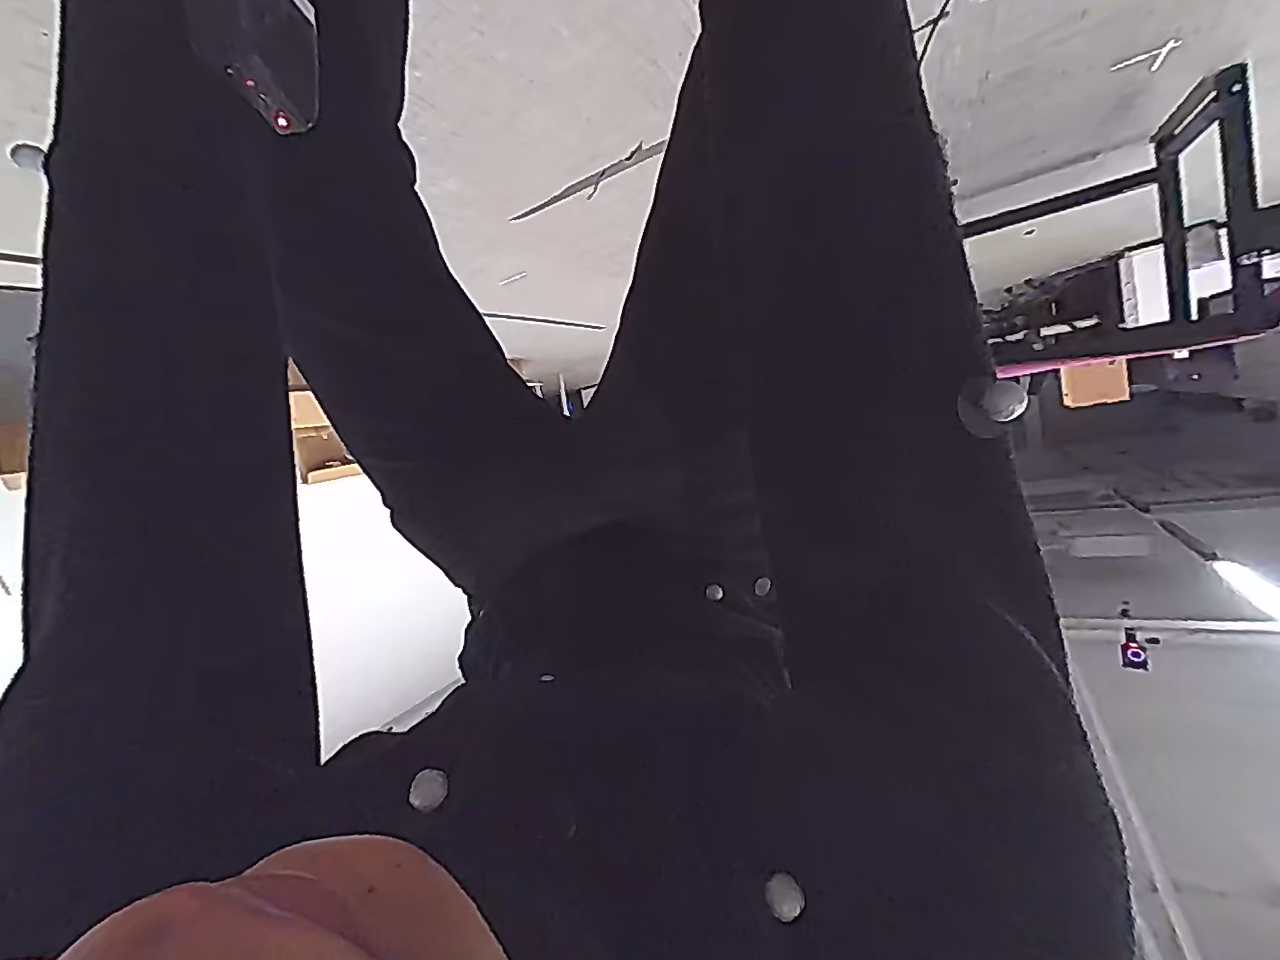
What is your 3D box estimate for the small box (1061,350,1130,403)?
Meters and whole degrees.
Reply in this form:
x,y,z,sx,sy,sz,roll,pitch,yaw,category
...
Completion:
x,y,z,sx,sy,sz,roll,pitch,yaw,category
1.707,-0.391,2.035,0.168,0.176,0.179,-7,-173,31,small box
